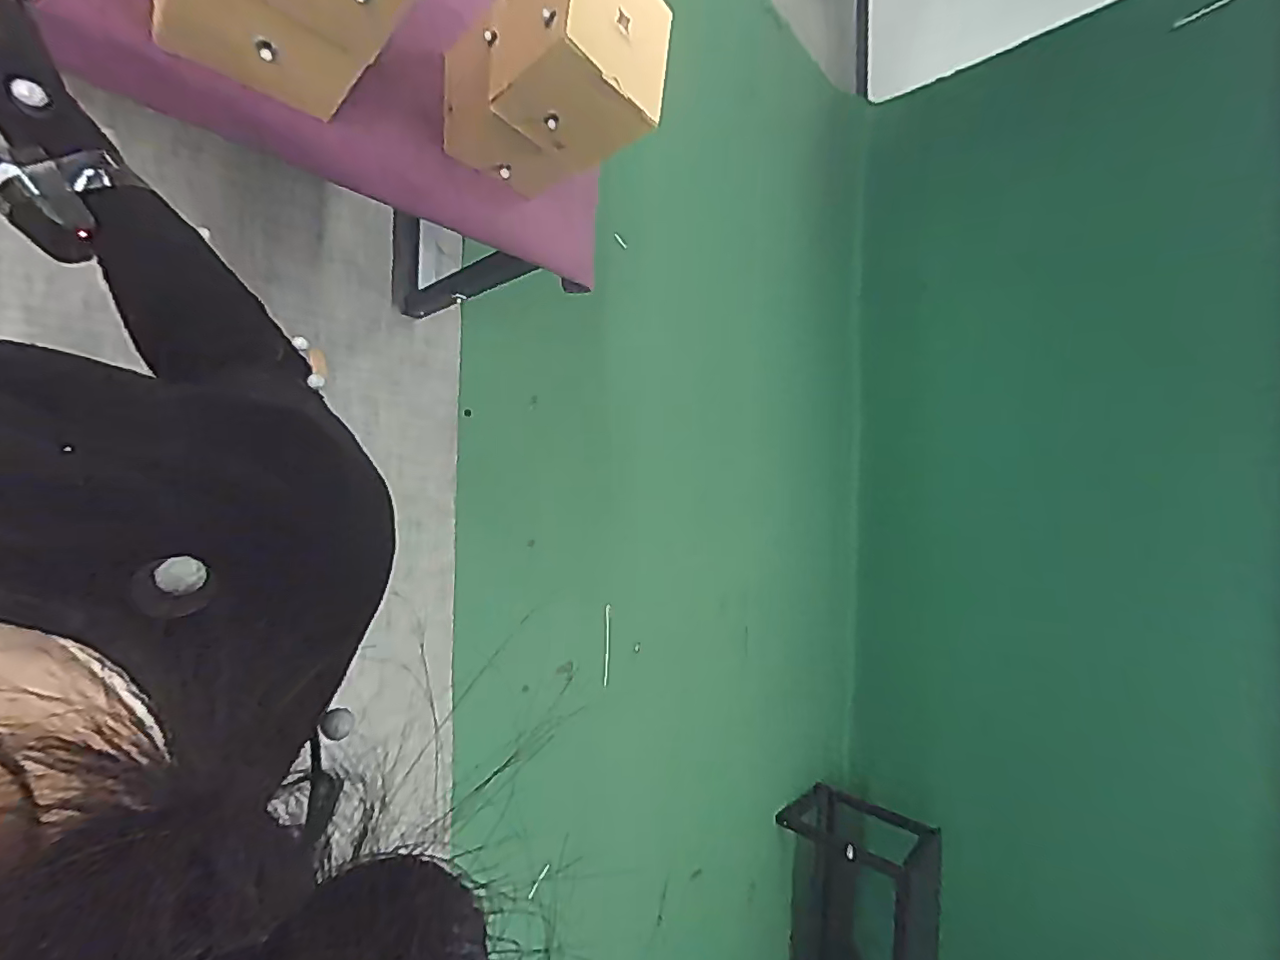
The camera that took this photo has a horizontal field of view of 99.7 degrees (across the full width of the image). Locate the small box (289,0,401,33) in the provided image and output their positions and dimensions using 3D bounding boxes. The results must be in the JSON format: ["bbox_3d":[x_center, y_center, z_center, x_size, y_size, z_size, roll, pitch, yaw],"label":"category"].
[{"bbox_3d":[-0.294,-0.558,0.482,0.179,0.176,0.168,3,87,-46],"label":"small box"}]

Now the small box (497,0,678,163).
[{"bbox_3d":[-0.071,-0.574,0.721,0.168,0.176,0.179,14,81,-45],"label":"small box"}]

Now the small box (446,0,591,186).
[{"bbox_3d":[-0.181,-0.593,0.845,0.179,0.176,0.168,2,88,-46],"label":"small box"}]
